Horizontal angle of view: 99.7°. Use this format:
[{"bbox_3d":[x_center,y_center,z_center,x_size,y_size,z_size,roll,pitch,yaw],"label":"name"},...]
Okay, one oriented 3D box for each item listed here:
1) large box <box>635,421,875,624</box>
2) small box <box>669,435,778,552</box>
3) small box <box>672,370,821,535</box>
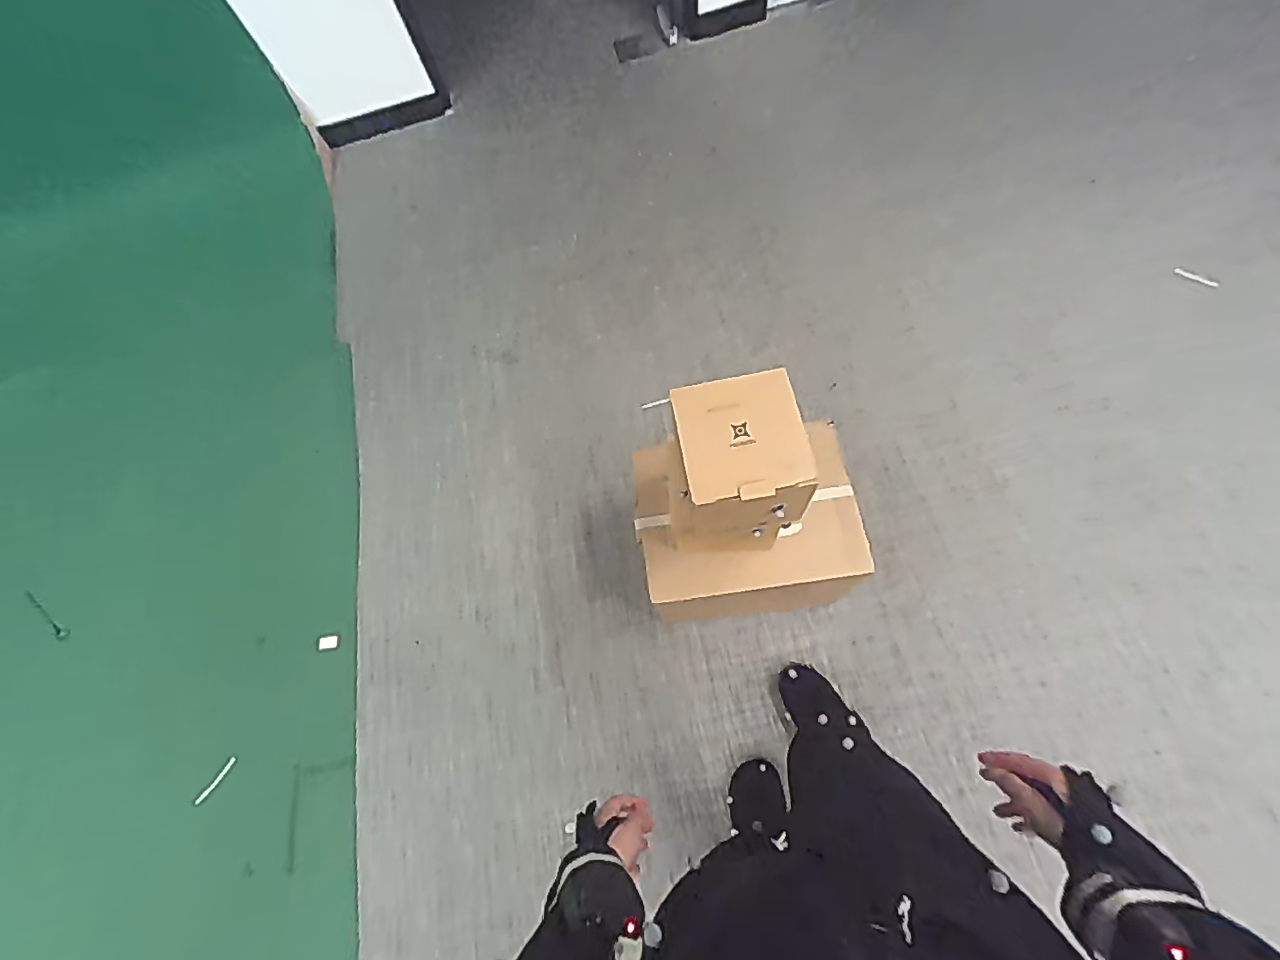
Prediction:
[{"bbox_3d":[0.218,0.109,1.159,0.408,0.320,0.320,-9,68,3],"label":"large box"},{"bbox_3d":[0.146,0.025,0.939,0.179,0.176,0.168,-4,68,6],"label":"small box"},{"bbox_3d":[0.145,-0.028,0.785,0.168,0.176,0.179,-11,66,1],"label":"small box"}]
